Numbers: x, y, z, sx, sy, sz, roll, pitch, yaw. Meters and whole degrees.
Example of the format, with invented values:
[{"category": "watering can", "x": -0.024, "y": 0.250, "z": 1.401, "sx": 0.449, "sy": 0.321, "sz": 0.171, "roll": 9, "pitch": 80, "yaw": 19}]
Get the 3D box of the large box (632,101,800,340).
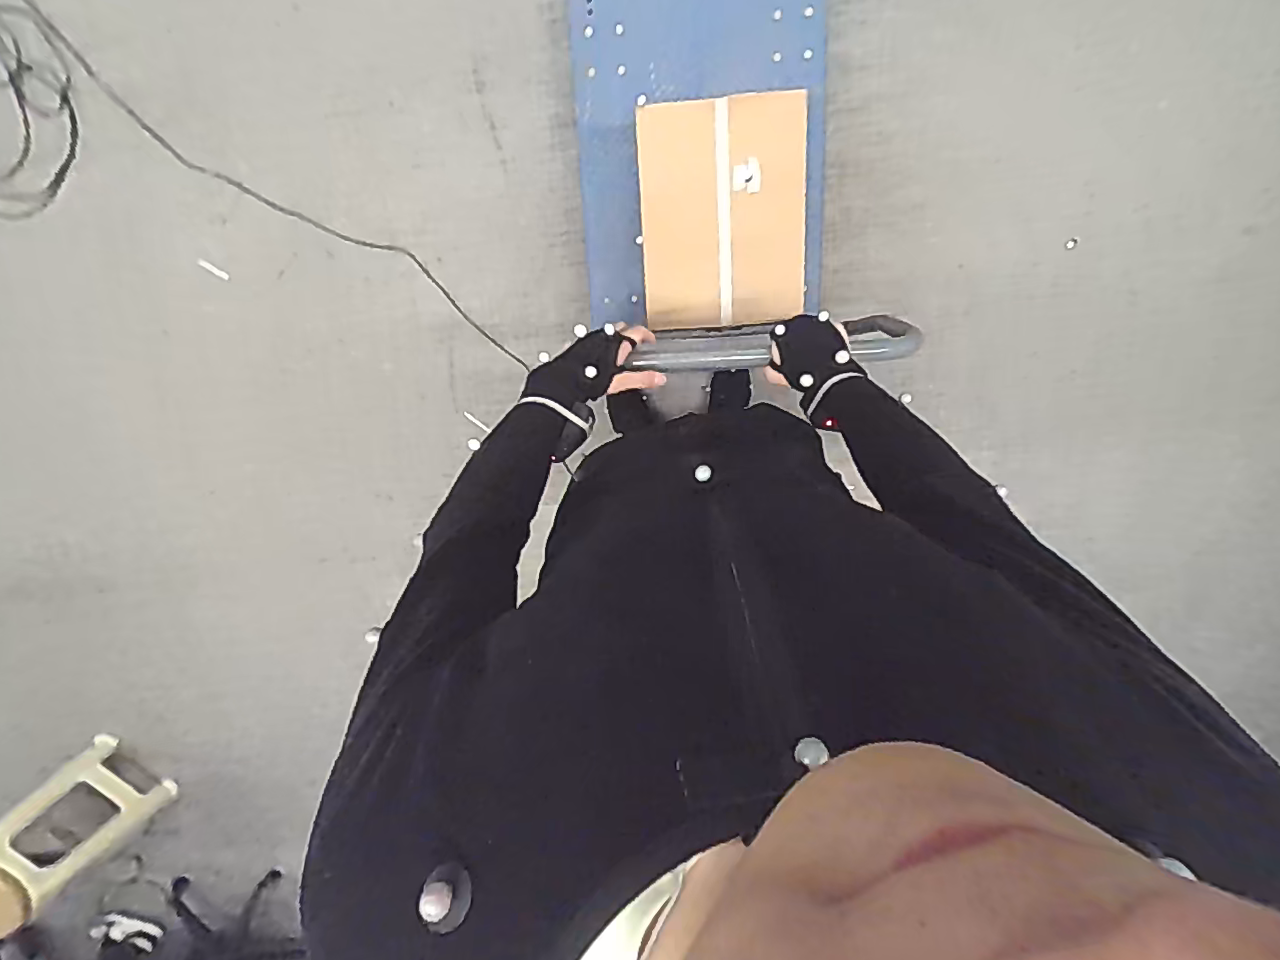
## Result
[{"category": "large box", "x": 0.162, "y": -0.532, "z": 1.196, "sx": 0.320, "sy": 0.320, "sz": 0.408, "roll": -3, "pitch": 103, "yaw": 3}]
